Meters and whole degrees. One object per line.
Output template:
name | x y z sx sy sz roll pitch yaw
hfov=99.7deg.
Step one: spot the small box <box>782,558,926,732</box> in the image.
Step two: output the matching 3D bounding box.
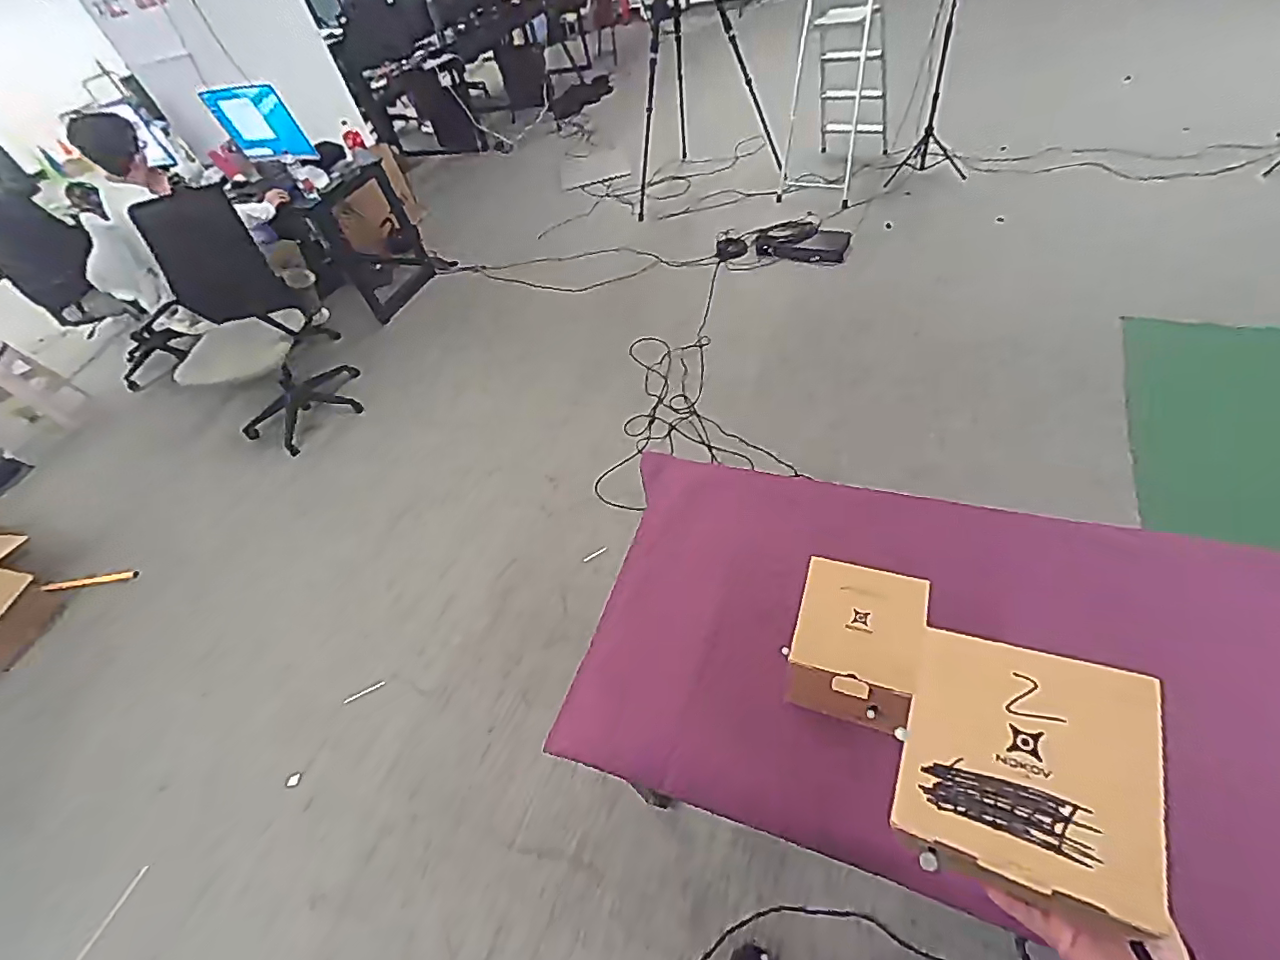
small box | 0.315 0.249 0.810 0.168 0.176 0.179 11 53 22
